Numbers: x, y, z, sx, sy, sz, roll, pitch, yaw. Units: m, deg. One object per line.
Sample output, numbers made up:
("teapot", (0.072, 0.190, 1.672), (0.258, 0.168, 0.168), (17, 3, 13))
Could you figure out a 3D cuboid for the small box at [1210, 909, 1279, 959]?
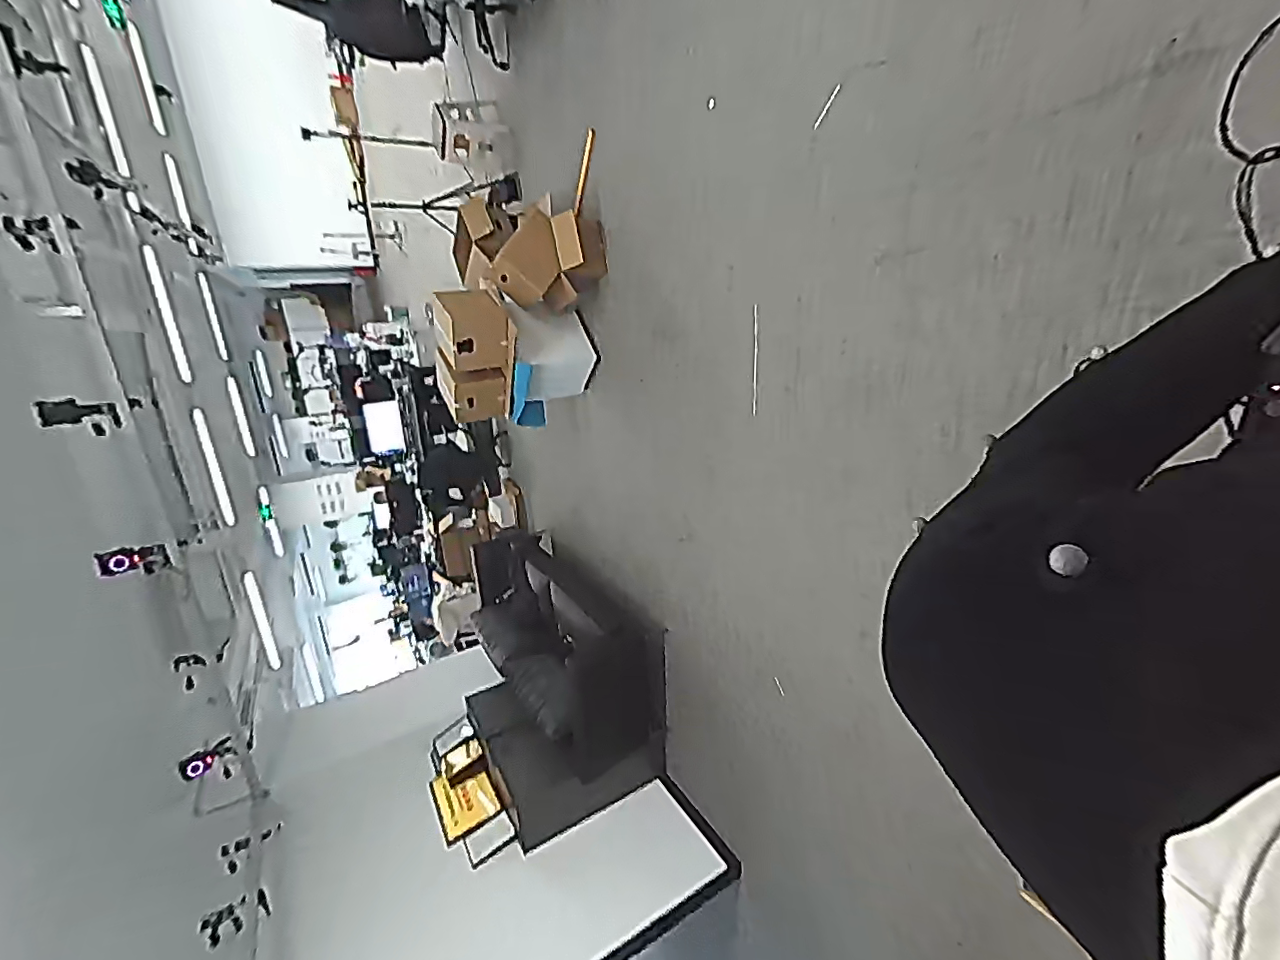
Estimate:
("small box", (1.390, 1.115, 1.192), (0.168, 0.176, 0.179), (30, 128, 52))
